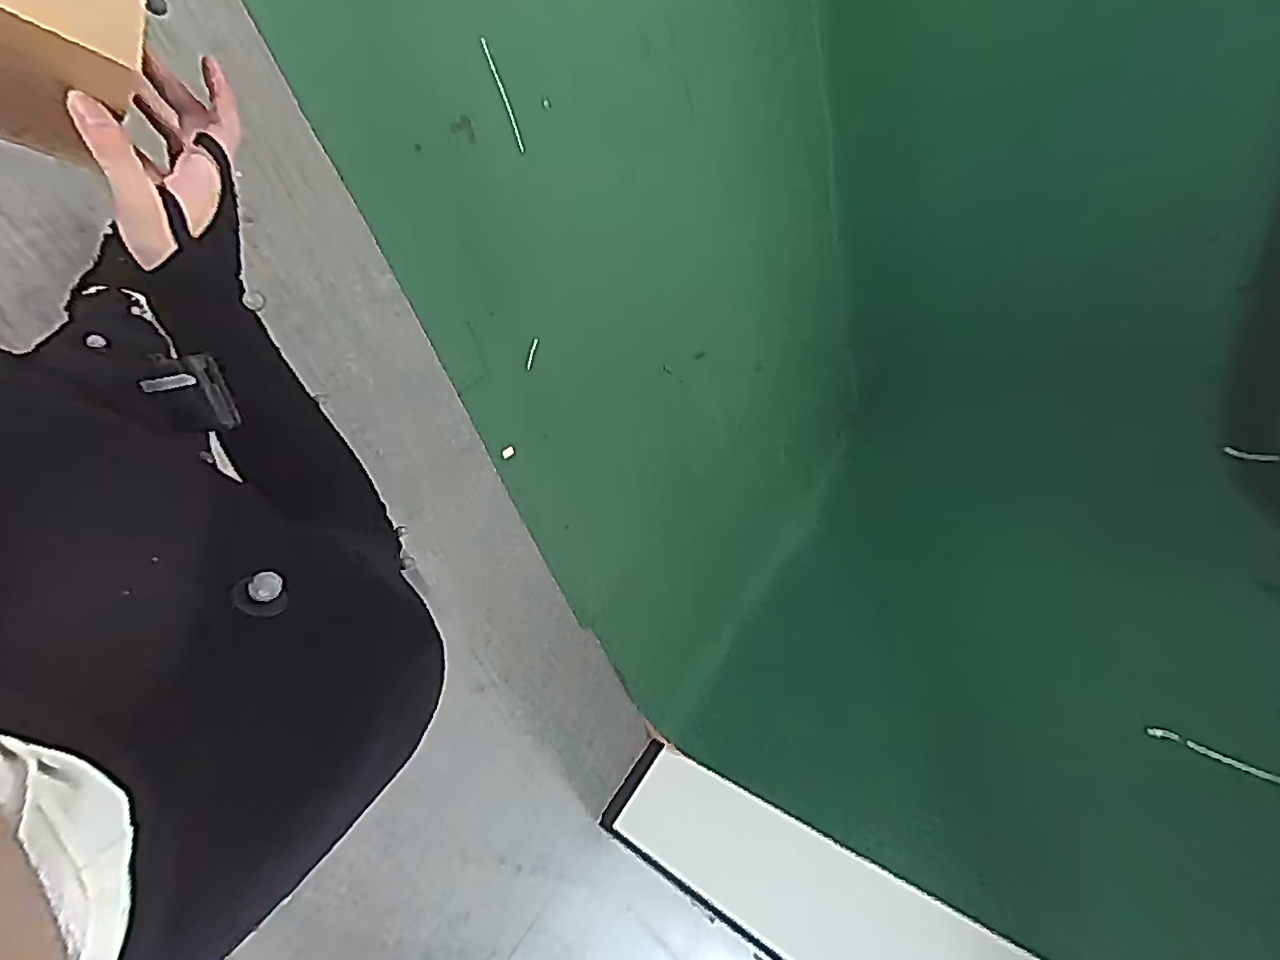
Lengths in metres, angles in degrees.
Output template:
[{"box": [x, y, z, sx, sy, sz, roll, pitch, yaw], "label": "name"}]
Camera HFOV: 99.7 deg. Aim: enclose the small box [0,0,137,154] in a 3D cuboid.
[{"box": [-0.410, -0.334, 0.313, 0.168, 0.176, 0.179, 4, 85, -51], "label": "small box"}]
